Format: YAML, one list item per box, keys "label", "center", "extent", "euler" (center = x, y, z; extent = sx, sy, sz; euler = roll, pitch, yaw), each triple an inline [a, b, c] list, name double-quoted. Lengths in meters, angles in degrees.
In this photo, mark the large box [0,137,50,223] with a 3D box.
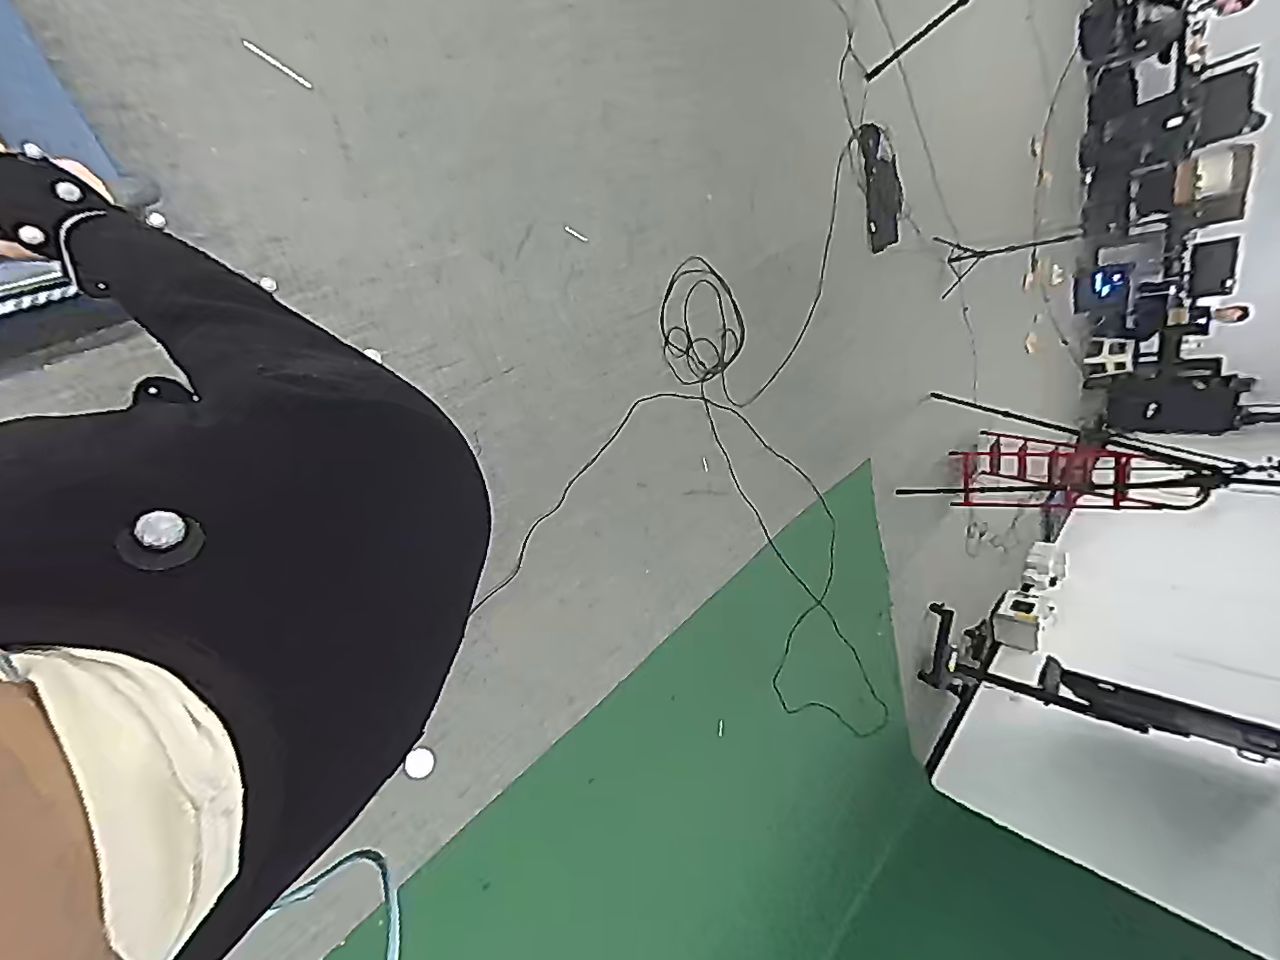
- label: "large box"
  center: [-1.149, -0.557, 0.715]
  extent: [0.320, 0.320, 0.408]
  euler: [-37, 118, -31]
